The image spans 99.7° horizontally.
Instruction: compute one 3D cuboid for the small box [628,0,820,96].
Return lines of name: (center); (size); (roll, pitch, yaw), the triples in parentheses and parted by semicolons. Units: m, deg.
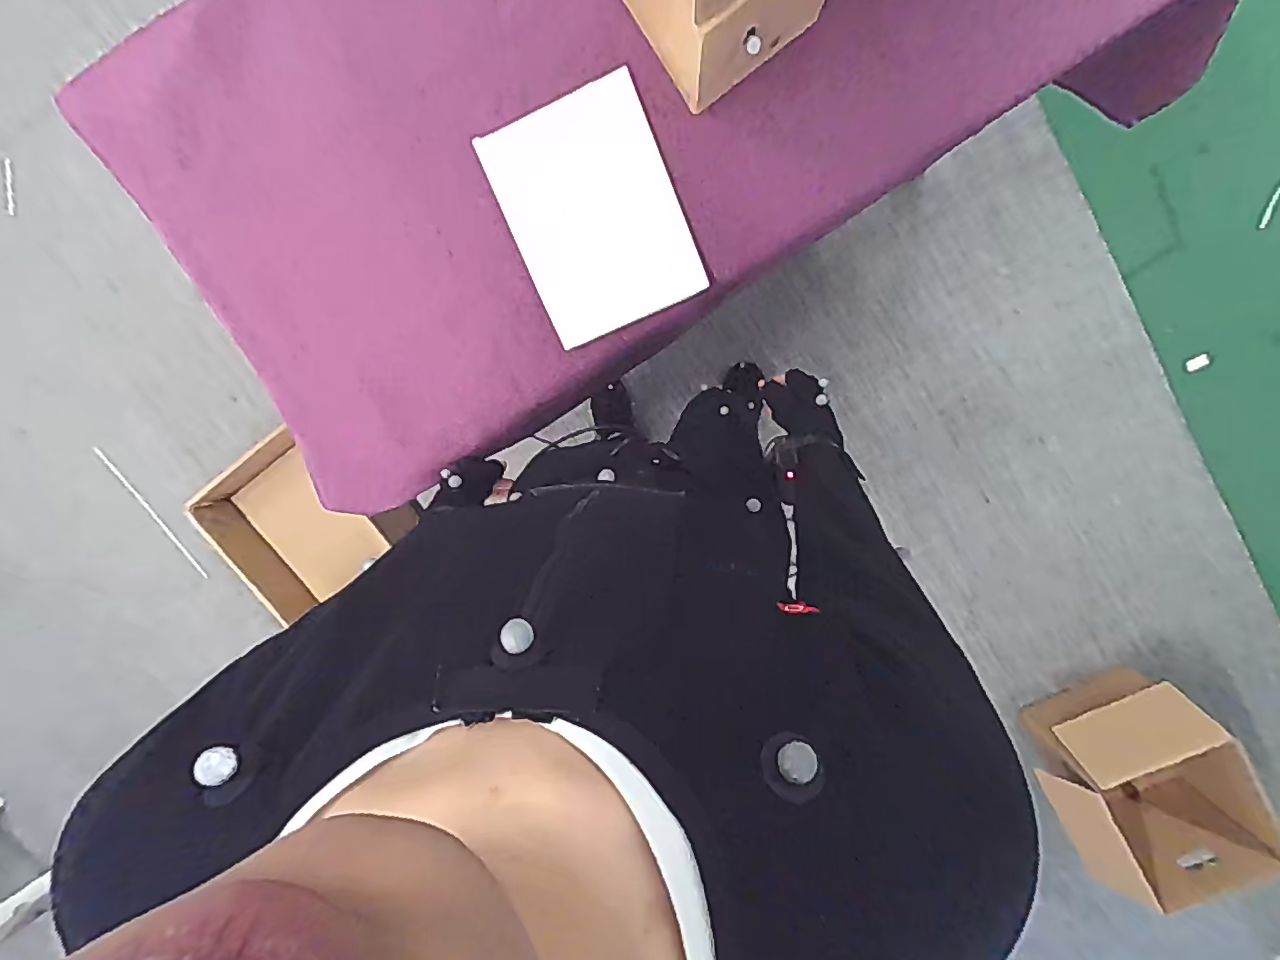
small box: (0.078, -0.521, 0.525); (0.168, 0.176, 0.179); (-33, 98, 10)
